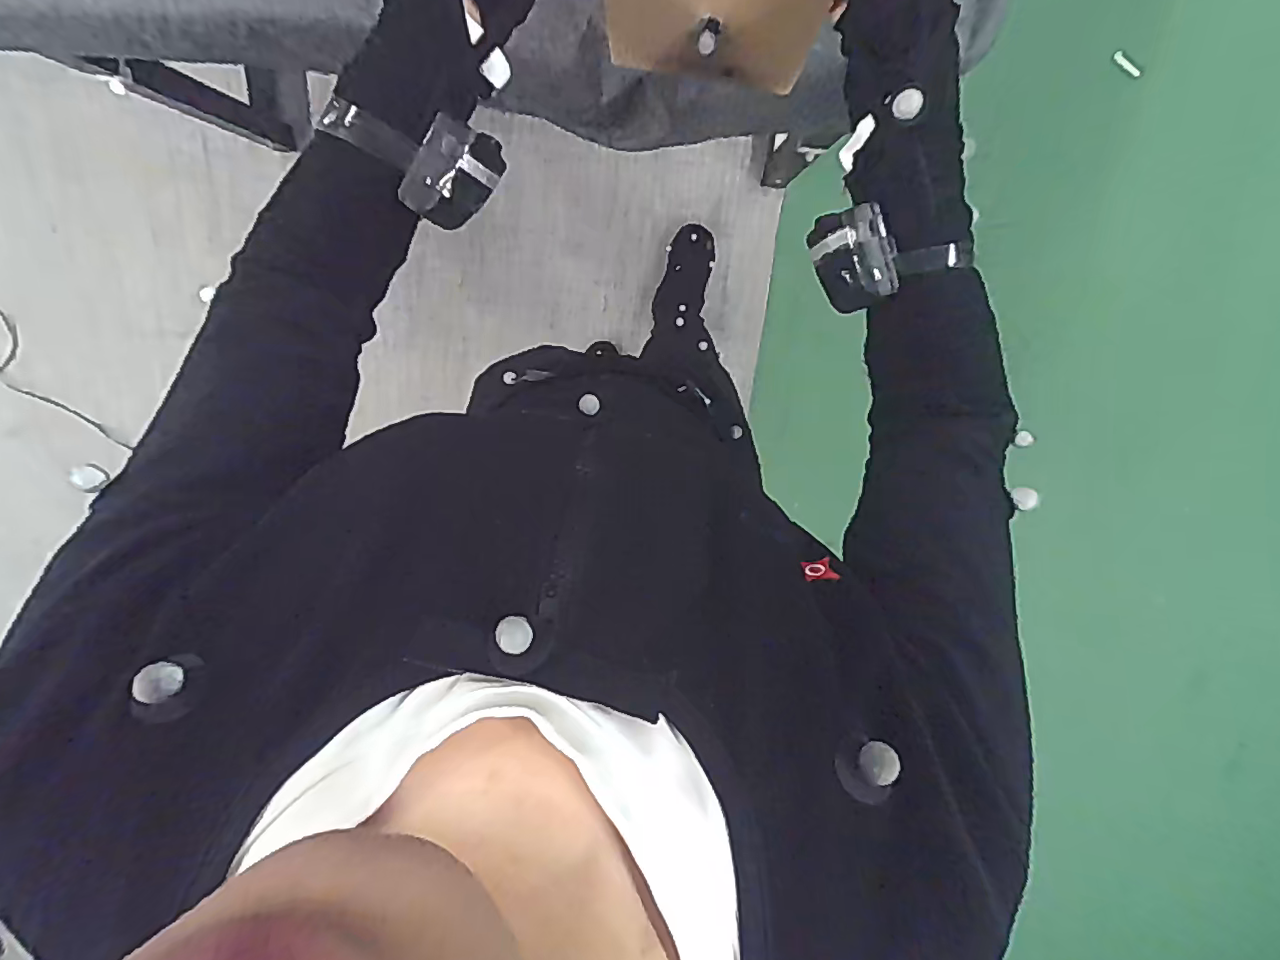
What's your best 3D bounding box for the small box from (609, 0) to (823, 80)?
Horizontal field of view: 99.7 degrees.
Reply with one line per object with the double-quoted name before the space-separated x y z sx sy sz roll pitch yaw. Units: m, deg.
"small box" 0.066 -0.436 0.397 0.168 0.176 0.179 9 103 0
